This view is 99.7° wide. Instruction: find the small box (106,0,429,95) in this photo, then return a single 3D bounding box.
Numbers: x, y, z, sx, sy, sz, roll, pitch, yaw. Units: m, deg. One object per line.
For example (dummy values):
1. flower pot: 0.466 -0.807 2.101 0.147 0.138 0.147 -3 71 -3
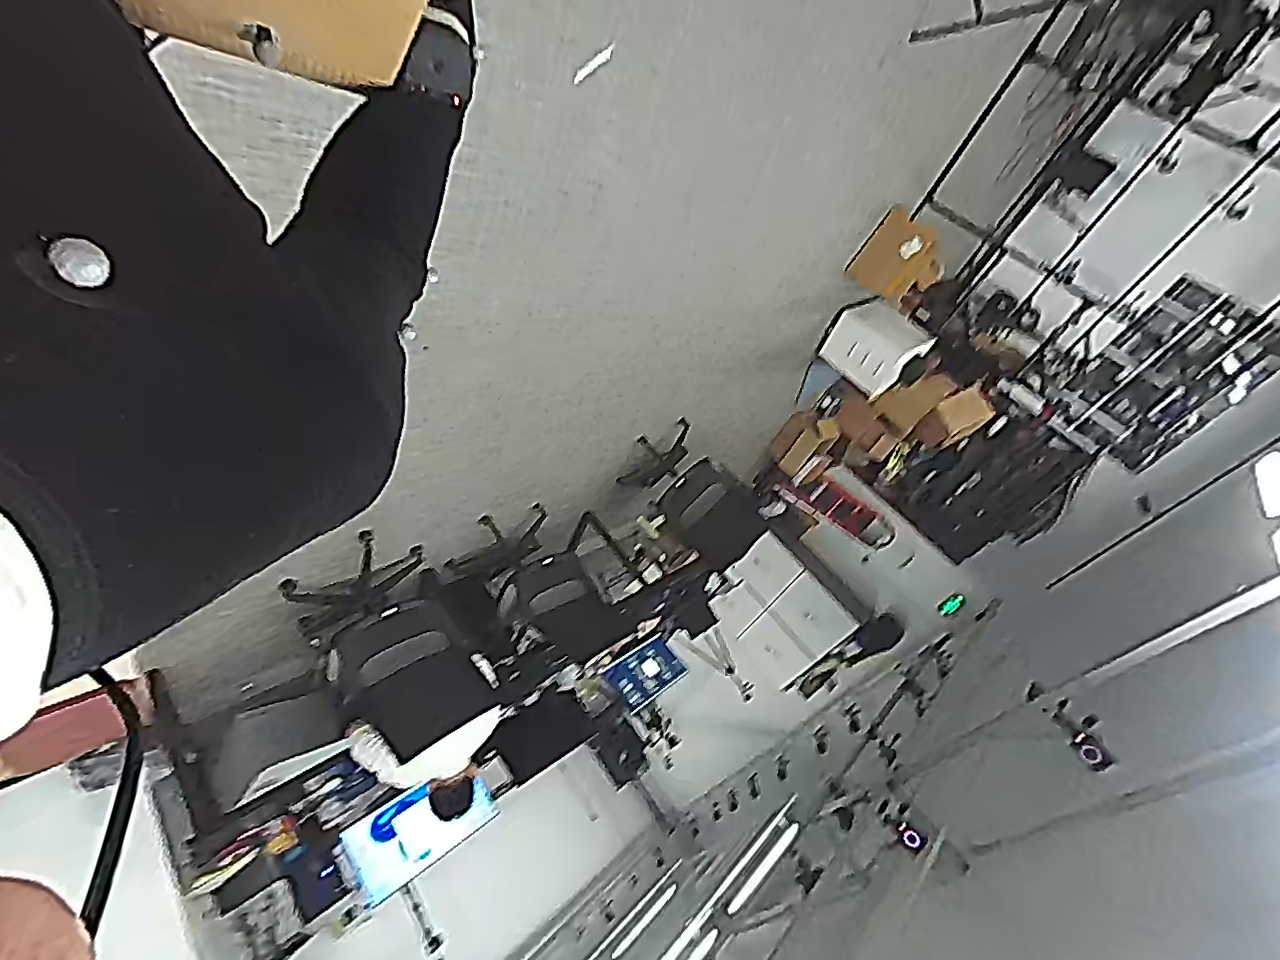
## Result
1. small box: -0.249 -0.392 0.350 0.179 0.176 0.168 -6 98 -35
